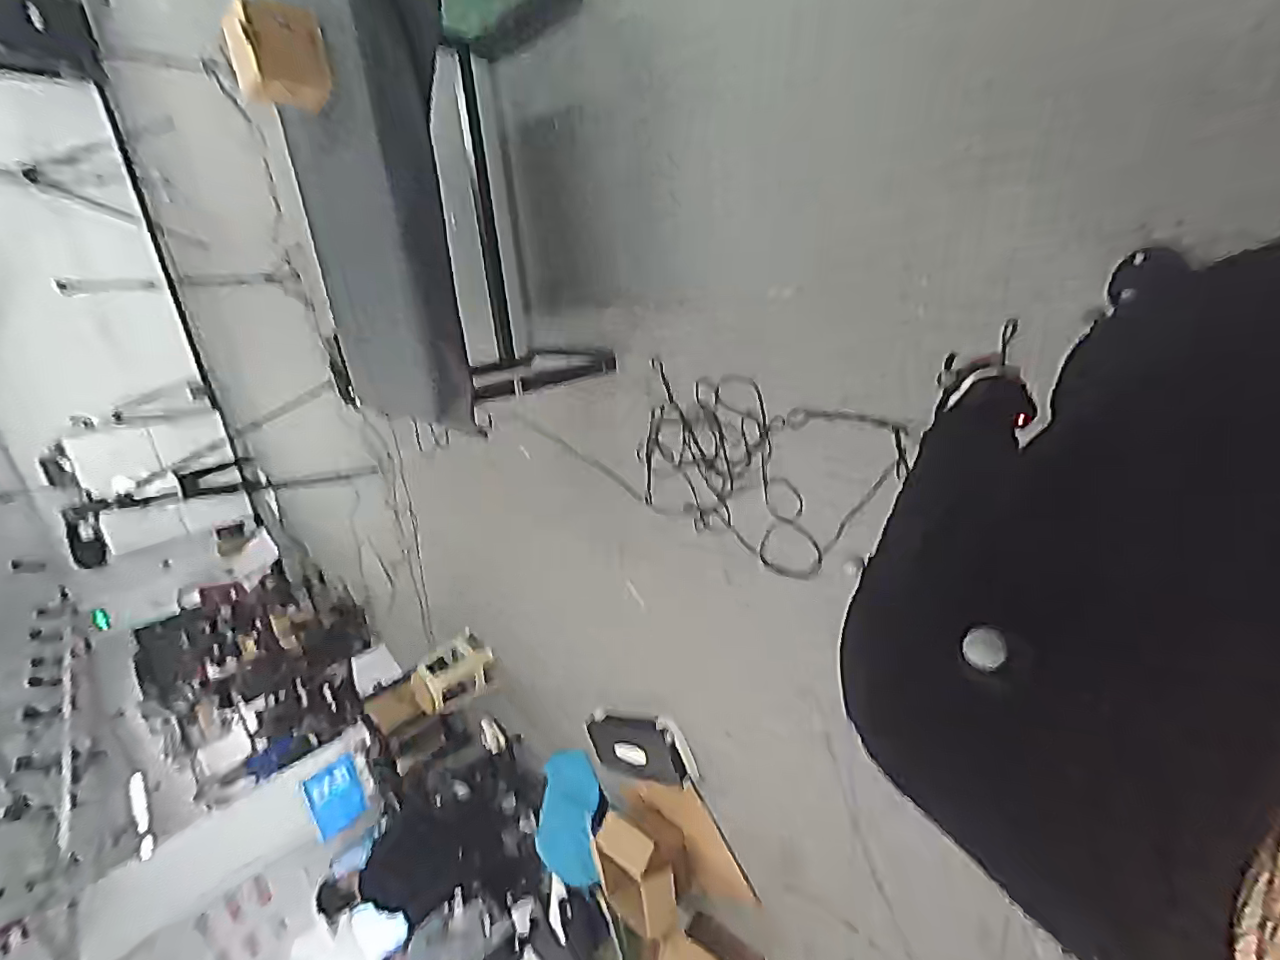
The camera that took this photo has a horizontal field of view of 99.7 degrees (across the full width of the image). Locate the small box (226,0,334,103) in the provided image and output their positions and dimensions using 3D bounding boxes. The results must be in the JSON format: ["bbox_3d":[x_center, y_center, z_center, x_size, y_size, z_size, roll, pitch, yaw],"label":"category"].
[{"bbox_3d":[-0.875,-1.054,1.325,0.179,0.176,0.168,14,116,44],"label":"small box"}]
